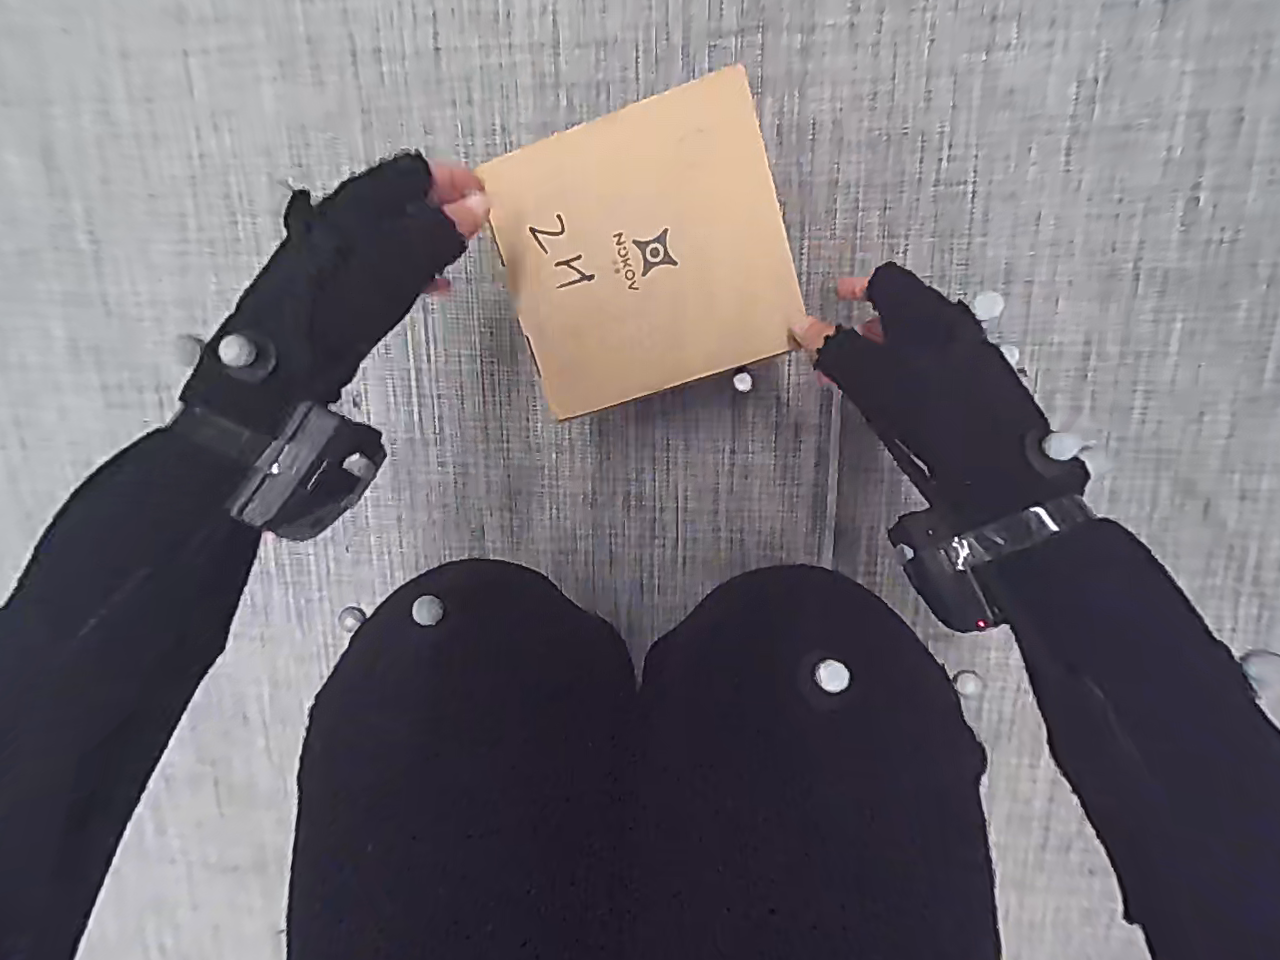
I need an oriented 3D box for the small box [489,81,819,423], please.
[{"bbox_3d":[0.016,-0.150,0.416,0.179,0.176,0.168,-15,97,9],"label":"small box"}]
